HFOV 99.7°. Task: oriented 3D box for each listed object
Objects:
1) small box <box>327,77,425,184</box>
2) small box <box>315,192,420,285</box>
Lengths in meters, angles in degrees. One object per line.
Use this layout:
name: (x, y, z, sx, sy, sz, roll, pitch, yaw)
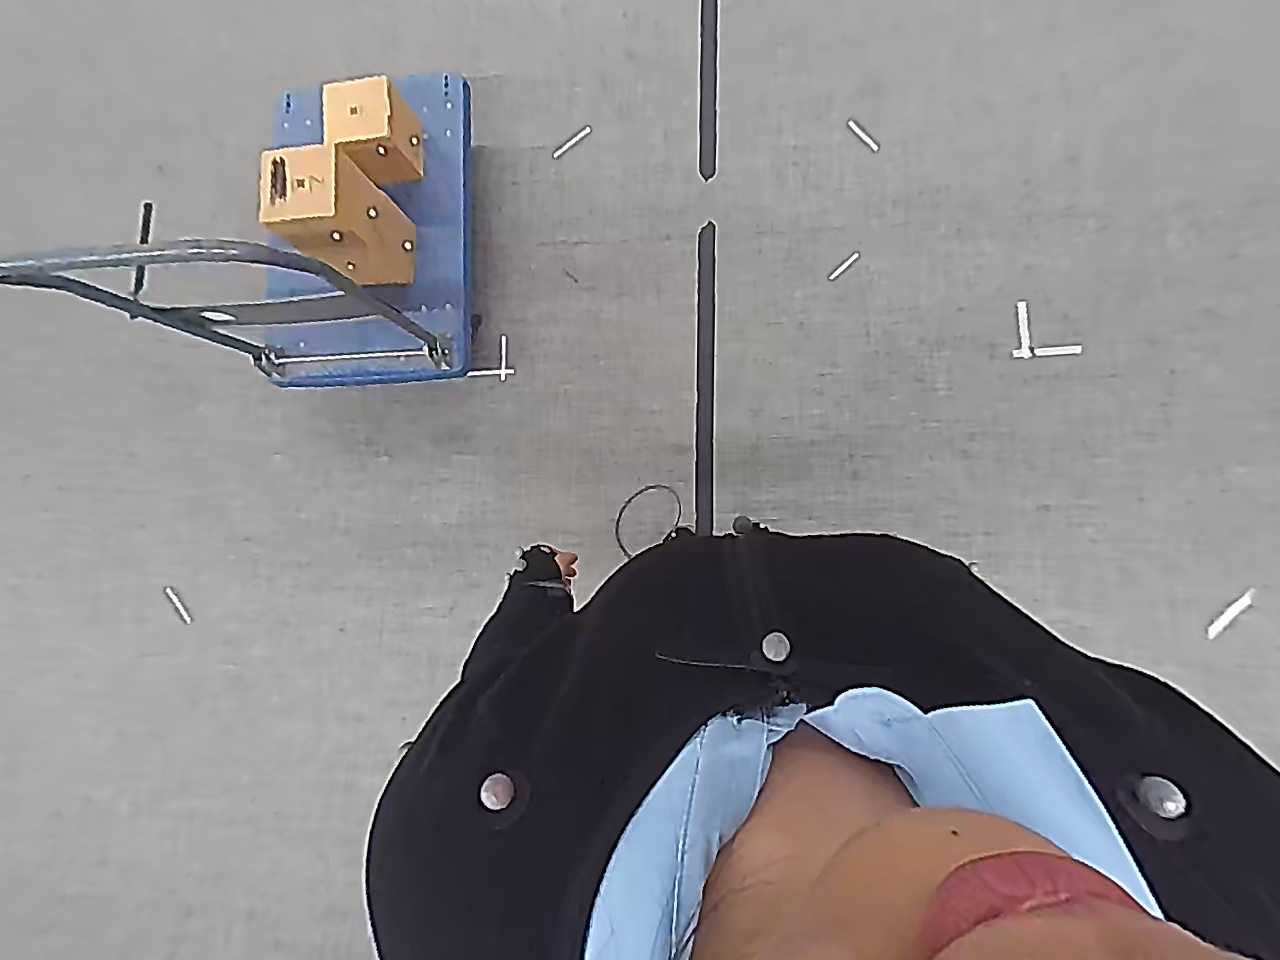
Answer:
small box: (-0.693, -0.912, 1.428, 0.179, 0.176, 0.168, -5, 85, 5)
small box: (-0.700, -0.618, 1.401, 0.179, 0.176, 0.168, 2, 86, 6)
